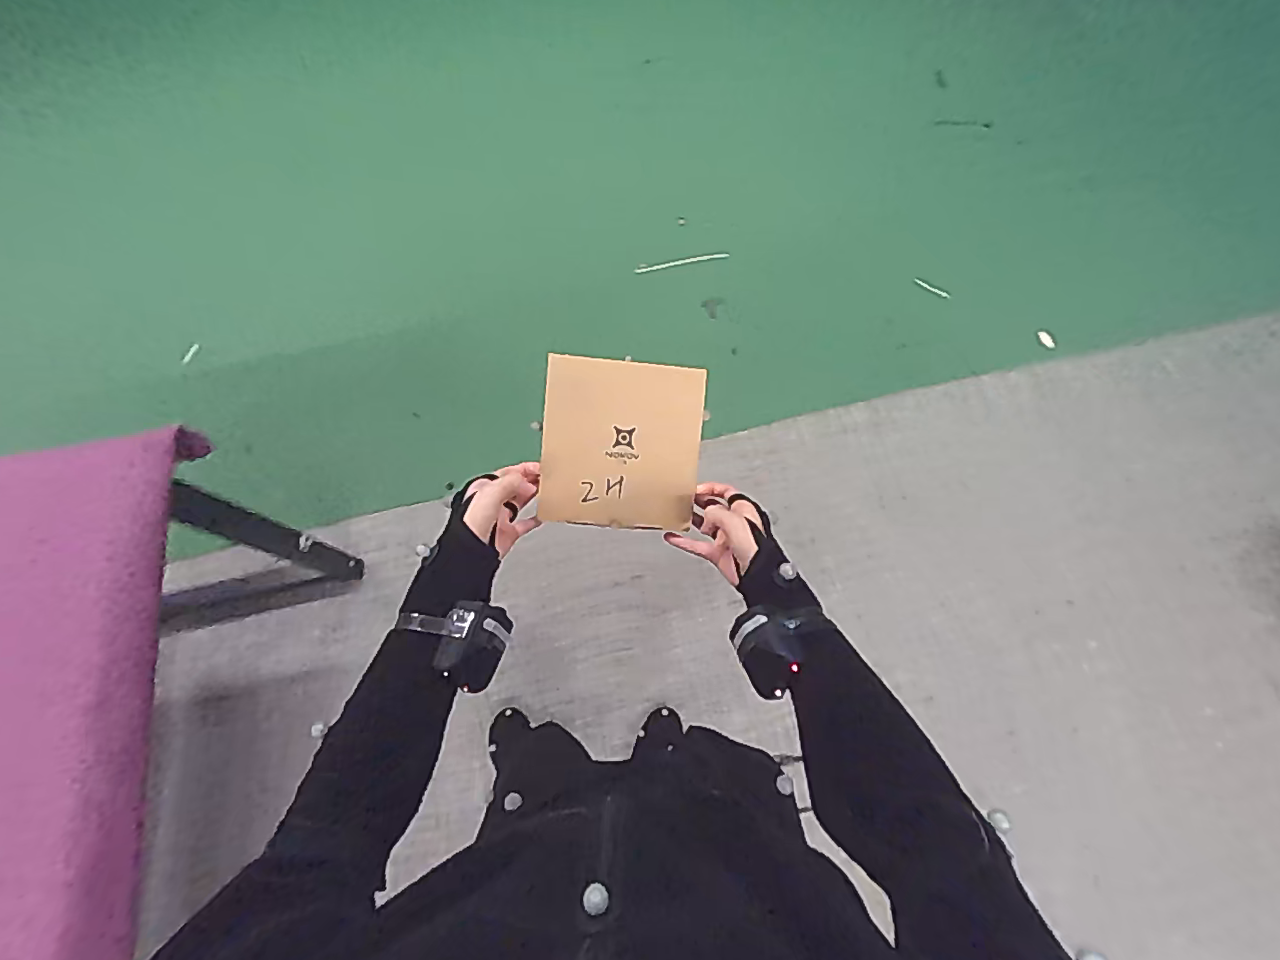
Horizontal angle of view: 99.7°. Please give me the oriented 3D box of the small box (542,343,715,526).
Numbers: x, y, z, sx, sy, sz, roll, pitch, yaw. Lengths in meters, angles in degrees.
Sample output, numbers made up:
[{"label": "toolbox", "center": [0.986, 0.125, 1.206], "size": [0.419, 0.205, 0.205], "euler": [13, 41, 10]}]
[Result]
[{"label": "small box", "center": [-0.020, -0.054, 0.638], "size": [0.168, 0.176, 0.179], "euler": [6, 97, -6]}]
